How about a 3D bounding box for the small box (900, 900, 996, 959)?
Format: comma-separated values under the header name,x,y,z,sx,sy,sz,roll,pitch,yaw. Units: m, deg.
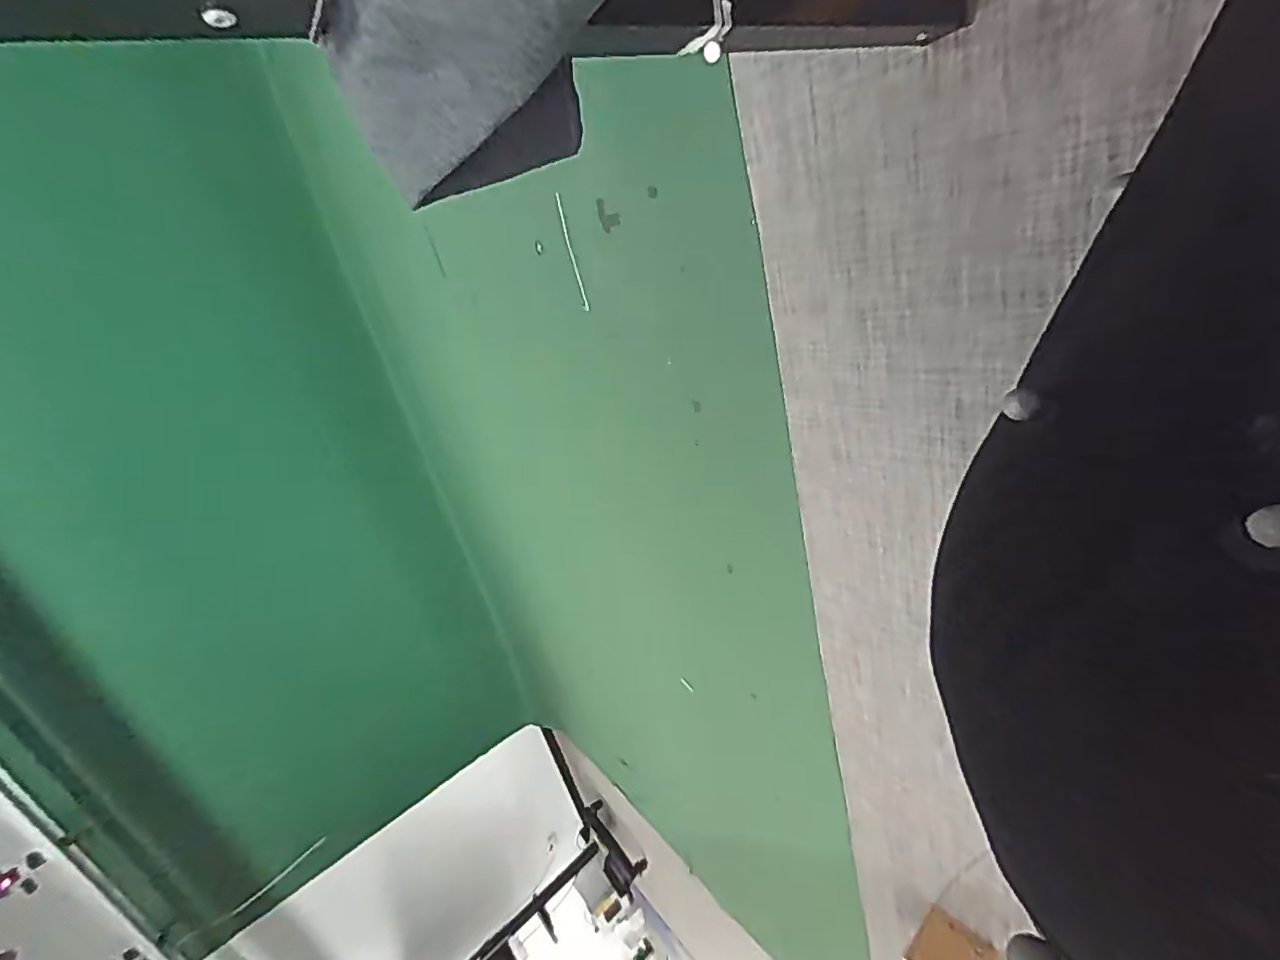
name,x,y,z,sx,sy,sz,roll,pitch,yaw
small box,0.809,1.265,1.415,0.168,0.176,0.179,14,126,53
